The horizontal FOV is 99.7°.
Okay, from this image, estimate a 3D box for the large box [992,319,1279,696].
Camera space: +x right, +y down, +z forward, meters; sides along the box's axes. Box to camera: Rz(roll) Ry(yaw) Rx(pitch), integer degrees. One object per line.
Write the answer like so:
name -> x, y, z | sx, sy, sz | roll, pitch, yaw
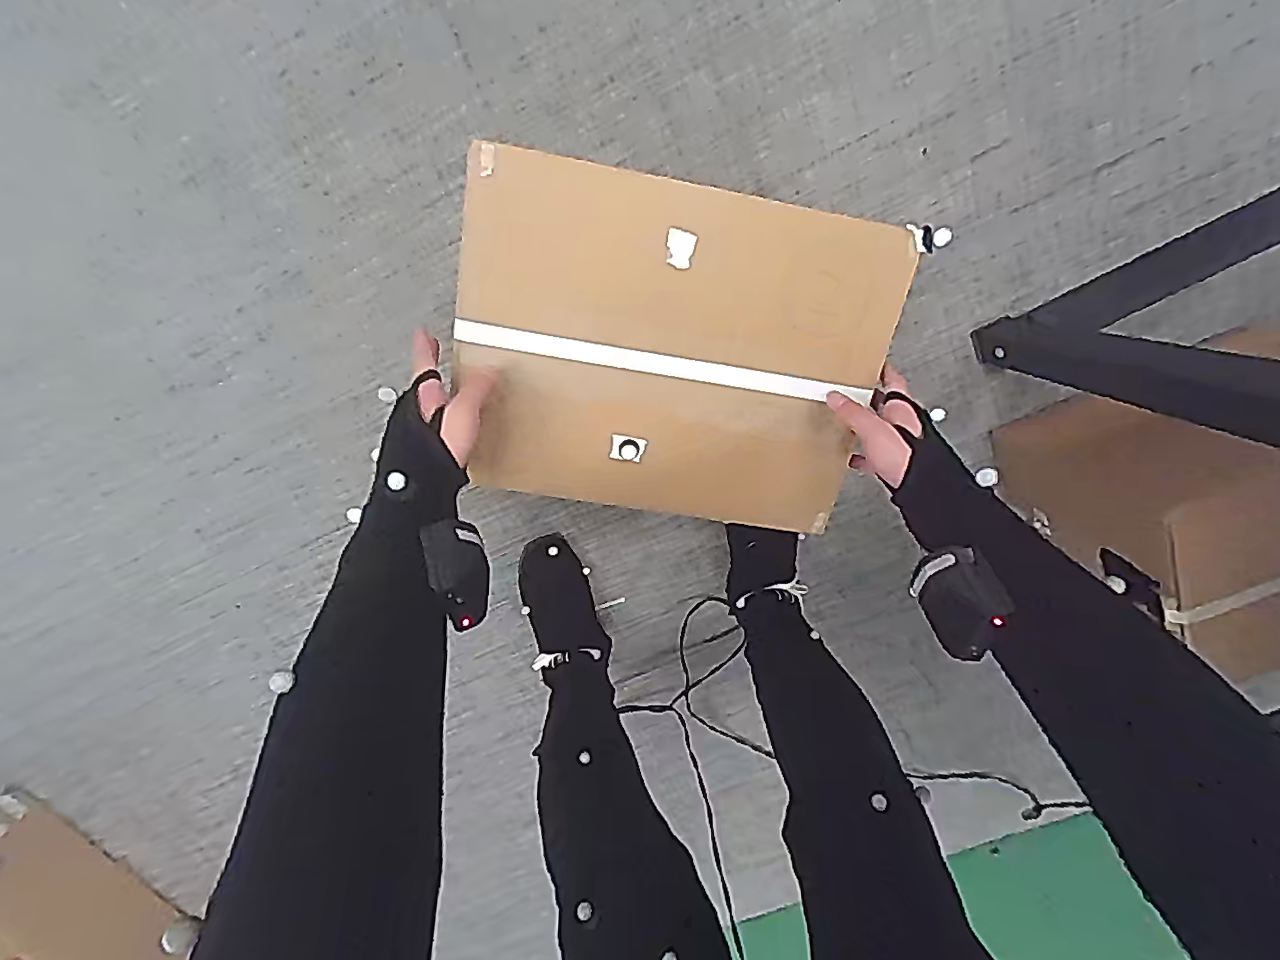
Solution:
large box -> 0.810, 0.015, 0.757 | 0.408, 0.320, 0.320 | -25, 112, 7
